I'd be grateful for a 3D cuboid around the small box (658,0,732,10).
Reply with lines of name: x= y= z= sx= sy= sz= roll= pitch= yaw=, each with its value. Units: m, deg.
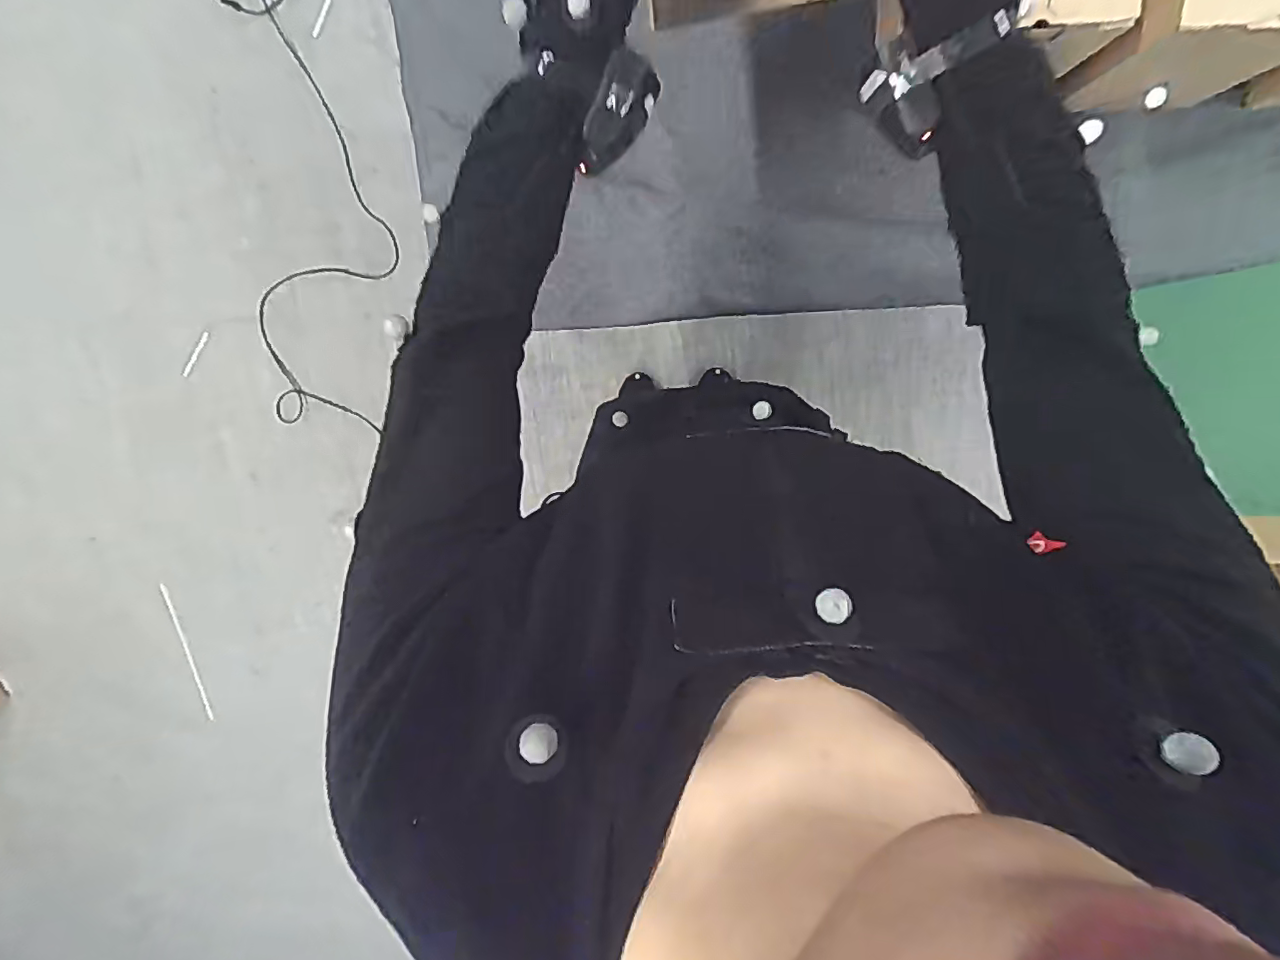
small box: x=0.070 y=-0.464 z=0.358 sx=0.168 sy=0.176 sz=0.179 roll=-8 pitch=95 yaw=5
